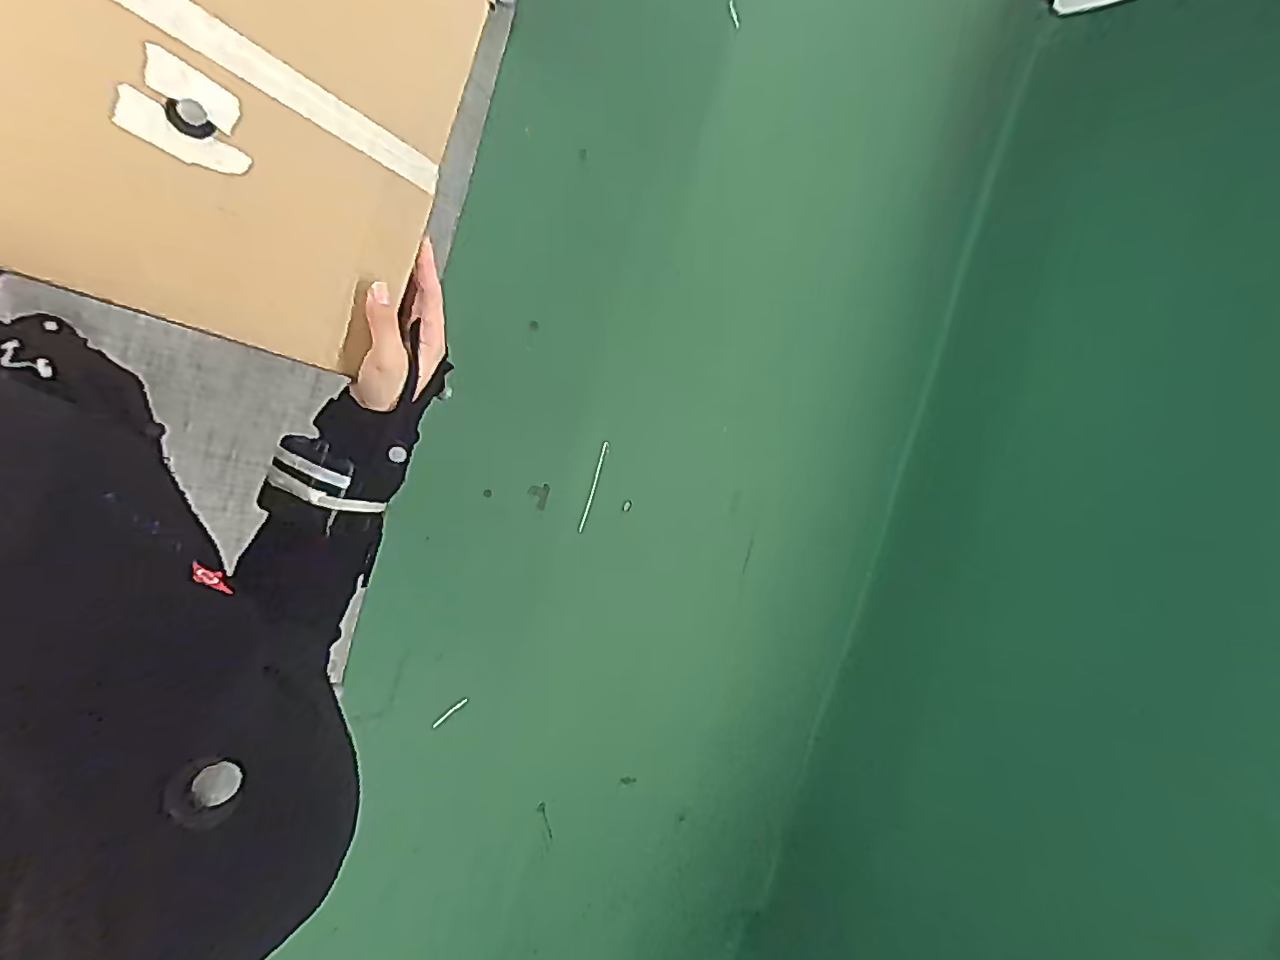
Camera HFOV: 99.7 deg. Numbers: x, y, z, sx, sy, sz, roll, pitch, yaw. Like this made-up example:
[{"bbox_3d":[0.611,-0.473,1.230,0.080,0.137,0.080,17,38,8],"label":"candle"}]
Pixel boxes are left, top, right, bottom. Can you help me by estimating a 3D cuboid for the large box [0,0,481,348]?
[{"bbox_3d":[-0.388,-0.316,0.354,0.408,0.320,0.320,16,95,-50],"label":"large box"}]
